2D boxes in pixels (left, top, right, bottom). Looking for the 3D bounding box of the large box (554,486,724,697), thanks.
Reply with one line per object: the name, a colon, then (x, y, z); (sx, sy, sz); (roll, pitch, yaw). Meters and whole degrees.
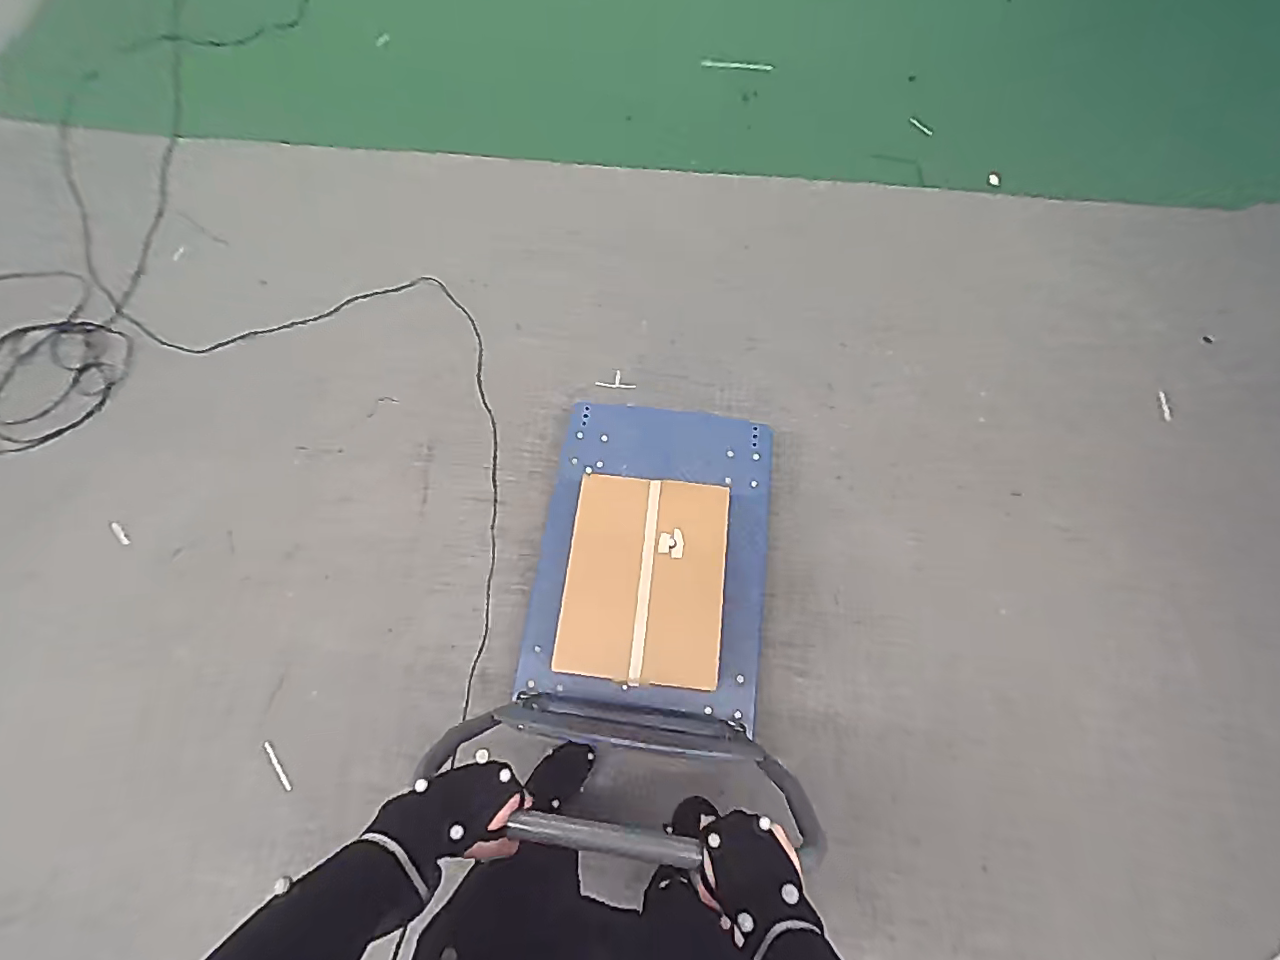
large box: (0.011, 0.263, 1.216); (0.320, 0.320, 0.408); (6, 69, 3)
